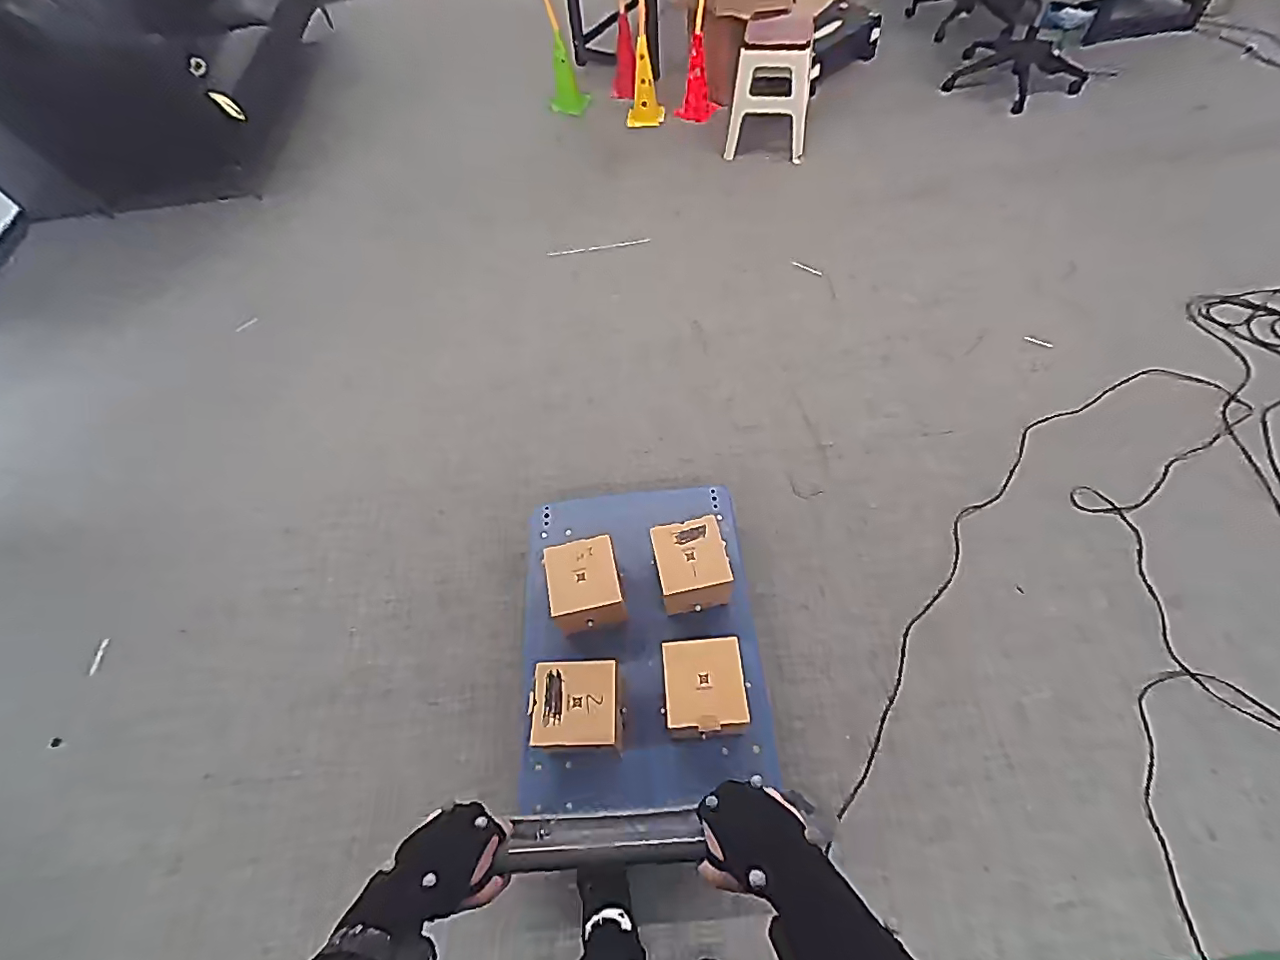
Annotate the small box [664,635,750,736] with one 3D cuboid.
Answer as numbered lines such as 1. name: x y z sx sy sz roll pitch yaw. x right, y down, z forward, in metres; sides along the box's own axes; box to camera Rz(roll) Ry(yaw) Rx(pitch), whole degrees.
1. small box: 0.141 0.458 1.197 0.168 0.176 0.179 -6 60 2

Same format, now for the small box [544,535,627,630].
1. small box: -0.132 0.261 1.339 0.168 0.176 0.179 -12 59 -2

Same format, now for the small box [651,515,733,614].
1. small box: 0.124 0.212 1.343 0.168 0.176 0.179 -12 60 -1
